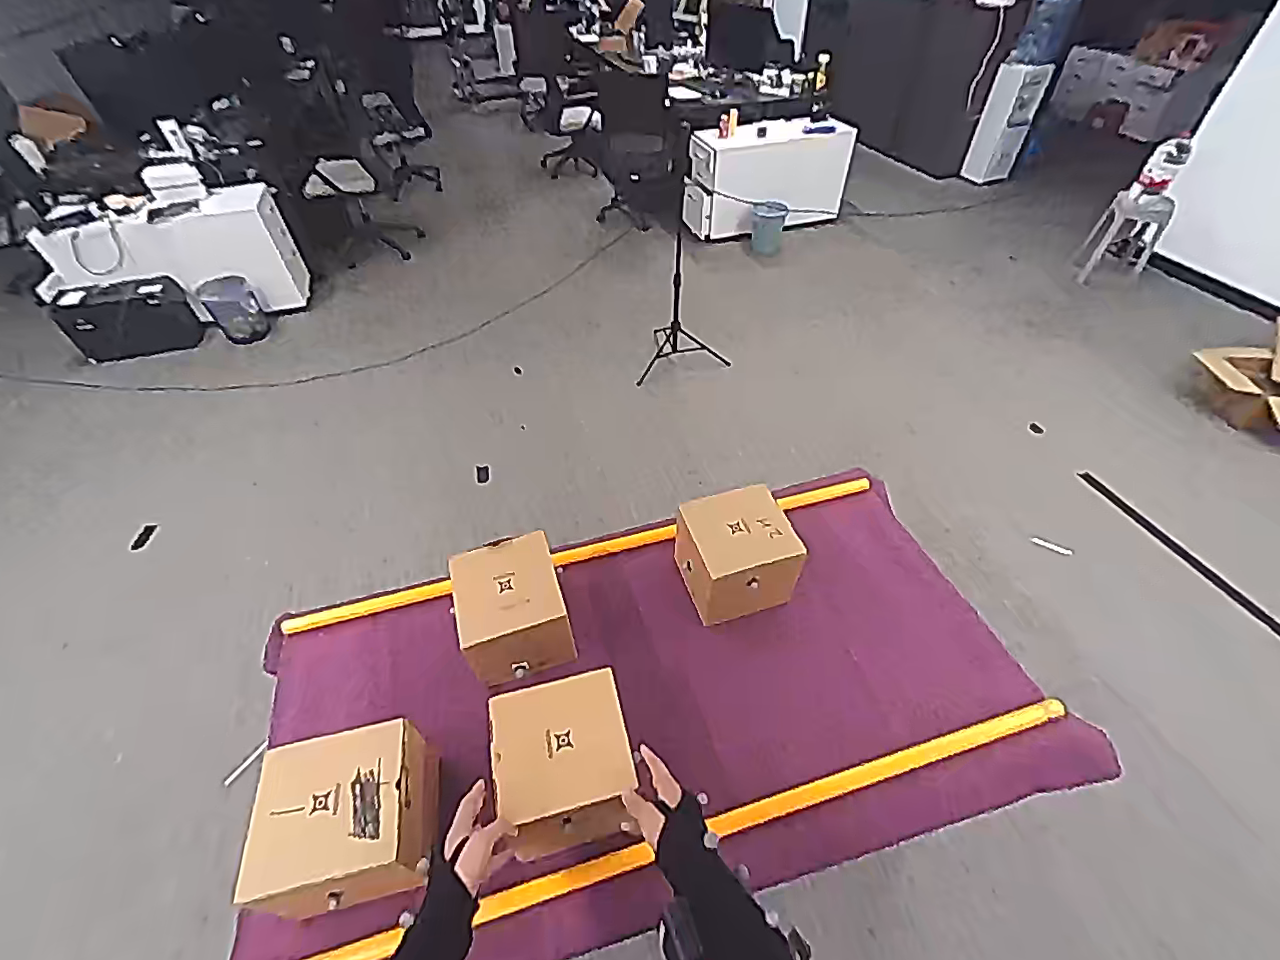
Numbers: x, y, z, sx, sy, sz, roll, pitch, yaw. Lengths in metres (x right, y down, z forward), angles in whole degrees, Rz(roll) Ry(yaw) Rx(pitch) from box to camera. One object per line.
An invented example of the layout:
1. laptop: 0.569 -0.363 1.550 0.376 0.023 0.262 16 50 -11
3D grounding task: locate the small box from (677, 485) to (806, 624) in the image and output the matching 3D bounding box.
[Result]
1. small box: 0.175 0.140 0.993 0.179 0.176 0.168 -13 49 -11

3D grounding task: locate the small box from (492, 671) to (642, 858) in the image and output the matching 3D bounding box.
1. small box: -0.099 0.398 0.757 0.179 0.176 0.168 -12 46 -9

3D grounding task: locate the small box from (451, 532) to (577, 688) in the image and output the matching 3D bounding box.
1. small box: -0.213 0.223 0.926 0.168 0.176 0.179 -16 49 -12

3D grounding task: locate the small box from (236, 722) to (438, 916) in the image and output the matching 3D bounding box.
1. small box: -0.375 0.447 0.713 0.179 0.176 0.168 -10 47 -9
